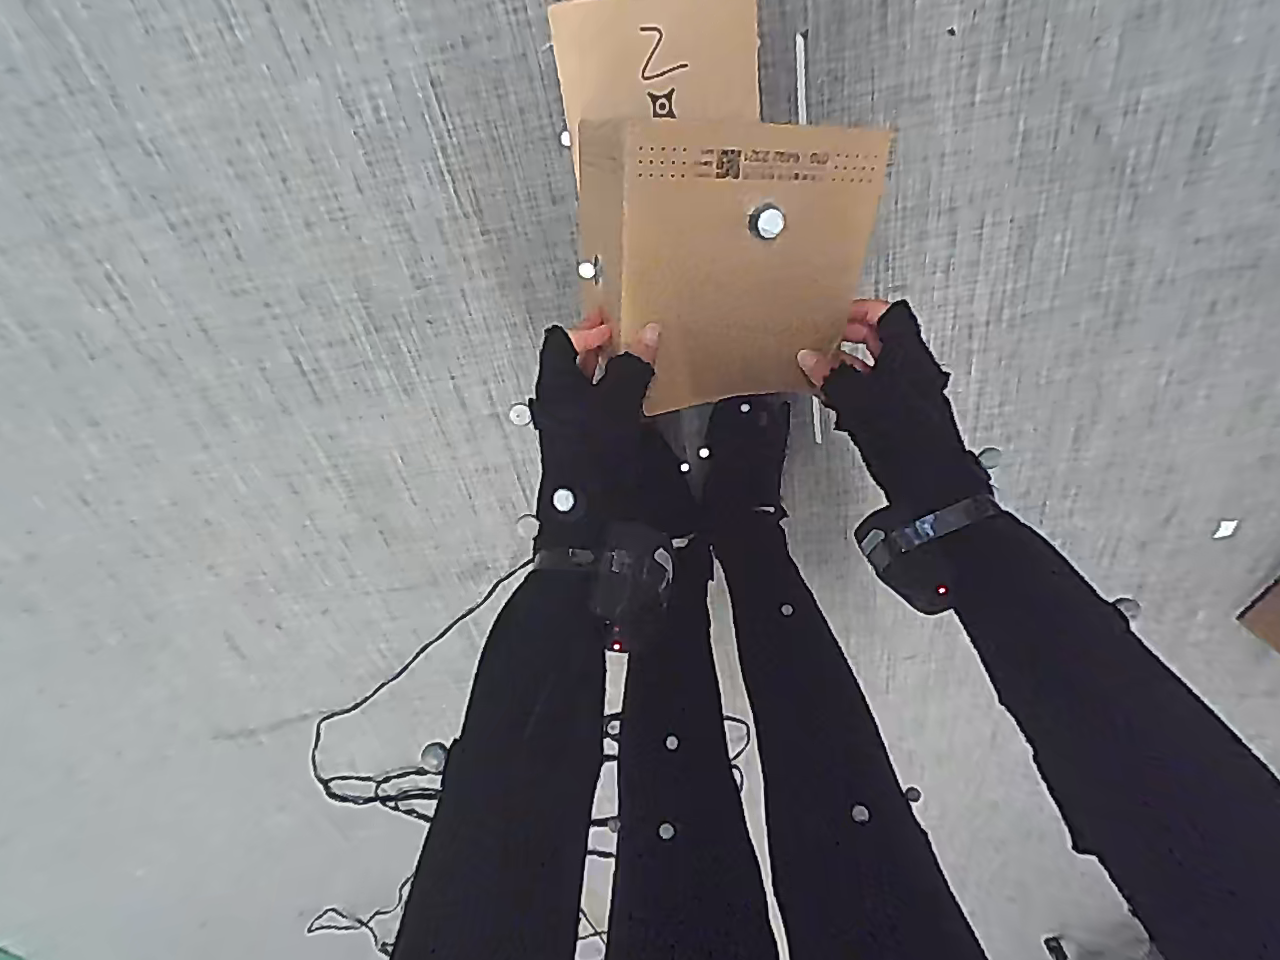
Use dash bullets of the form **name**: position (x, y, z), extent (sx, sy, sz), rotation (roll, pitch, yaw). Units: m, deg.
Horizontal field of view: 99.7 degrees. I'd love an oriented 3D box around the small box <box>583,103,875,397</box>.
- **small box**: position (0.049, -0.177, 0.414), extent (0.168, 0.179, 0.176), rotation (-5, 122, -12)
